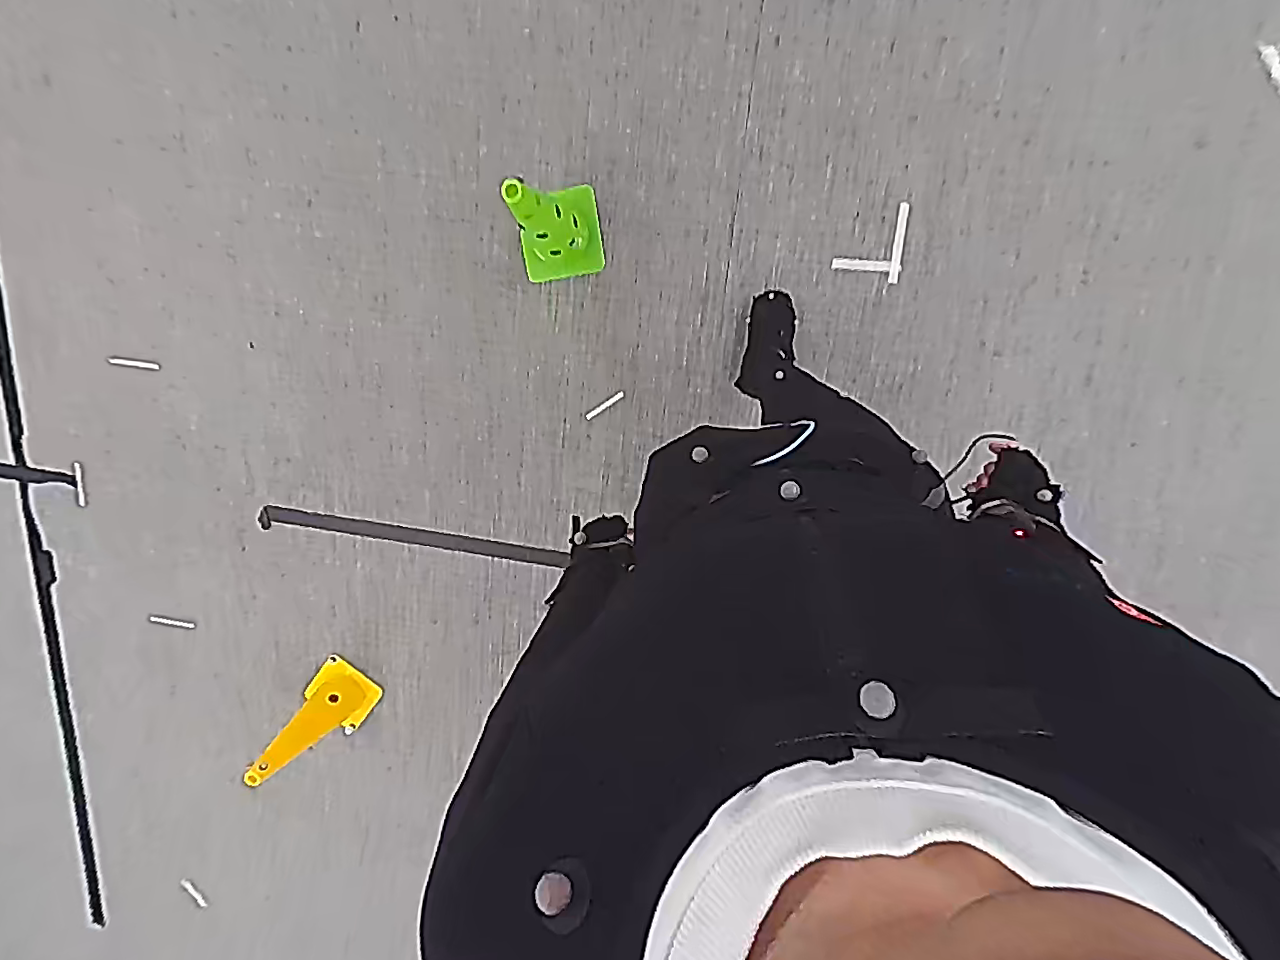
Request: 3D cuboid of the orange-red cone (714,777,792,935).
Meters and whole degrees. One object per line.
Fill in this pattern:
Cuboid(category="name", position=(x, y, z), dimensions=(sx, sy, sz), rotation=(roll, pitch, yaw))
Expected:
Cuboid(category="orange-red cone", position=(0.313, 1.019, 1.437), dimensions=(0.199, 0.360, 0.198), rotation=(15, 103, 4))

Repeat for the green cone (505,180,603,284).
Cuboid(category="green cone", position=(-0.216, -0.561, 1.162), dimensions=(0.202, 0.368, 0.200), rotation=(-8, 101, 7))
